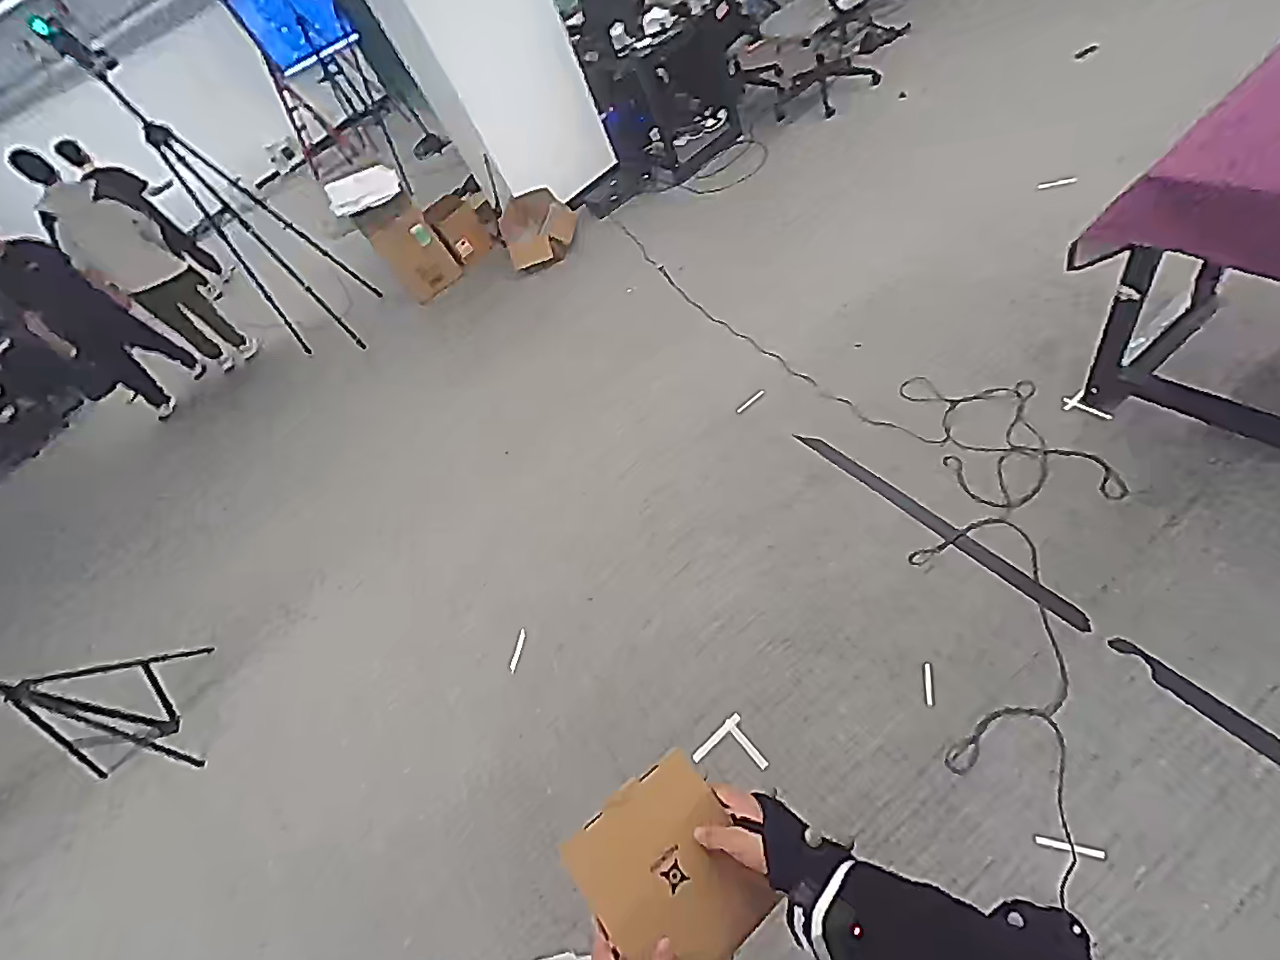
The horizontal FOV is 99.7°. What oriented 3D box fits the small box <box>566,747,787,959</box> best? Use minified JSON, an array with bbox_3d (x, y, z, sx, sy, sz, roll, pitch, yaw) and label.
[{"bbox_3d":[0.033,0.448,0.619,0.168,0.176,0.179,-29,59,-25],"label":"small box"}]
